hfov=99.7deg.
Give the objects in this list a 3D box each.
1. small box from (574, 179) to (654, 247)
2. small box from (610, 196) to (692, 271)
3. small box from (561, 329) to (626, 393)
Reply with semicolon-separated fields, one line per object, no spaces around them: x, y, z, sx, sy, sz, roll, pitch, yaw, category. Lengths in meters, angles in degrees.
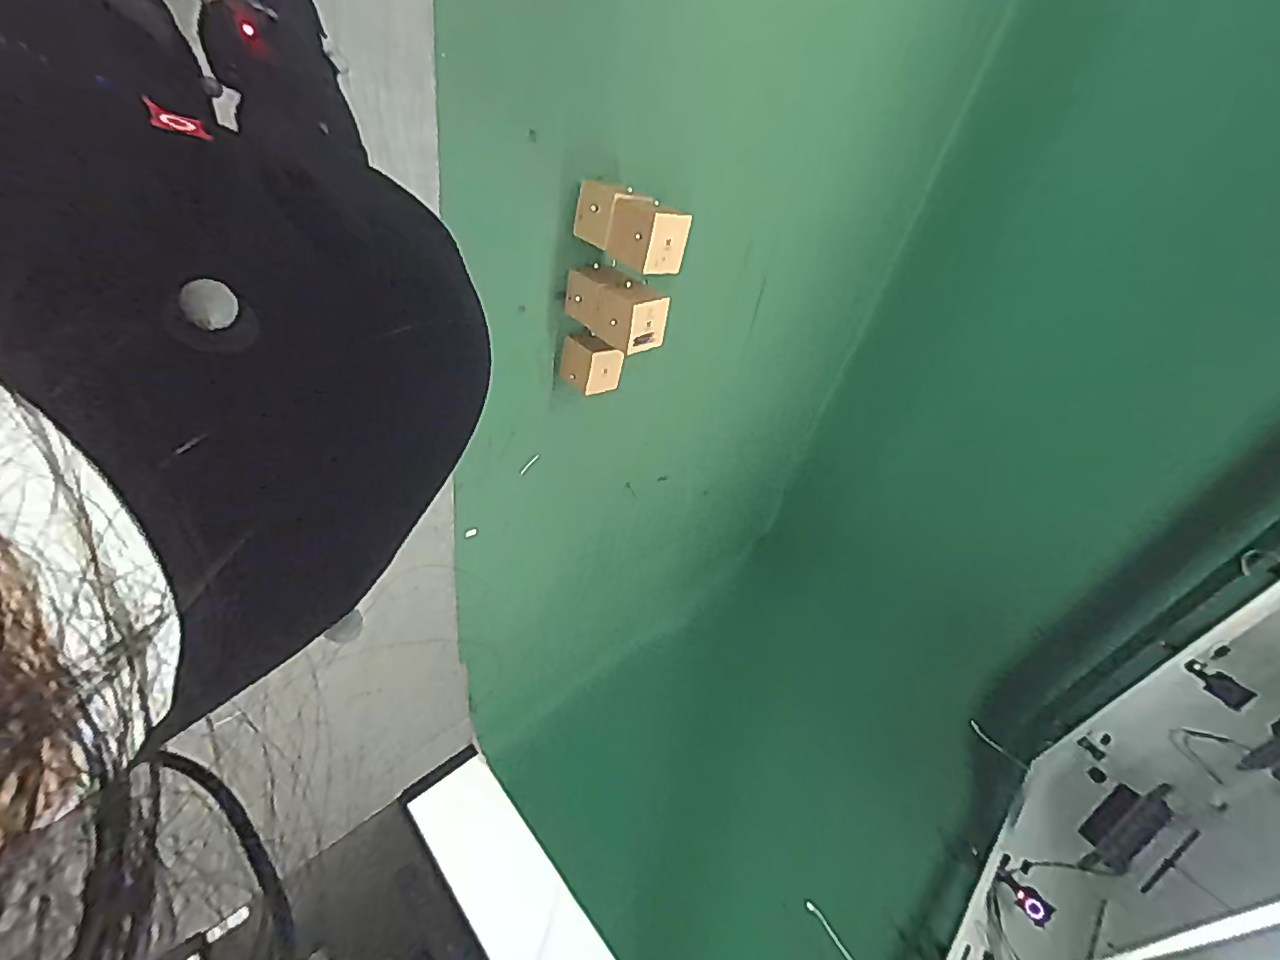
-0.089;-0.854;1.737;0.179;0.176;0.168;-20;138;-42;small box
0.028;-0.760;1.666;0.168;0.176;0.179;-21;138;-41;small box
-0.181;-0.454;2.050;0.168;0.176;0.179;-21;139;-41;small box
